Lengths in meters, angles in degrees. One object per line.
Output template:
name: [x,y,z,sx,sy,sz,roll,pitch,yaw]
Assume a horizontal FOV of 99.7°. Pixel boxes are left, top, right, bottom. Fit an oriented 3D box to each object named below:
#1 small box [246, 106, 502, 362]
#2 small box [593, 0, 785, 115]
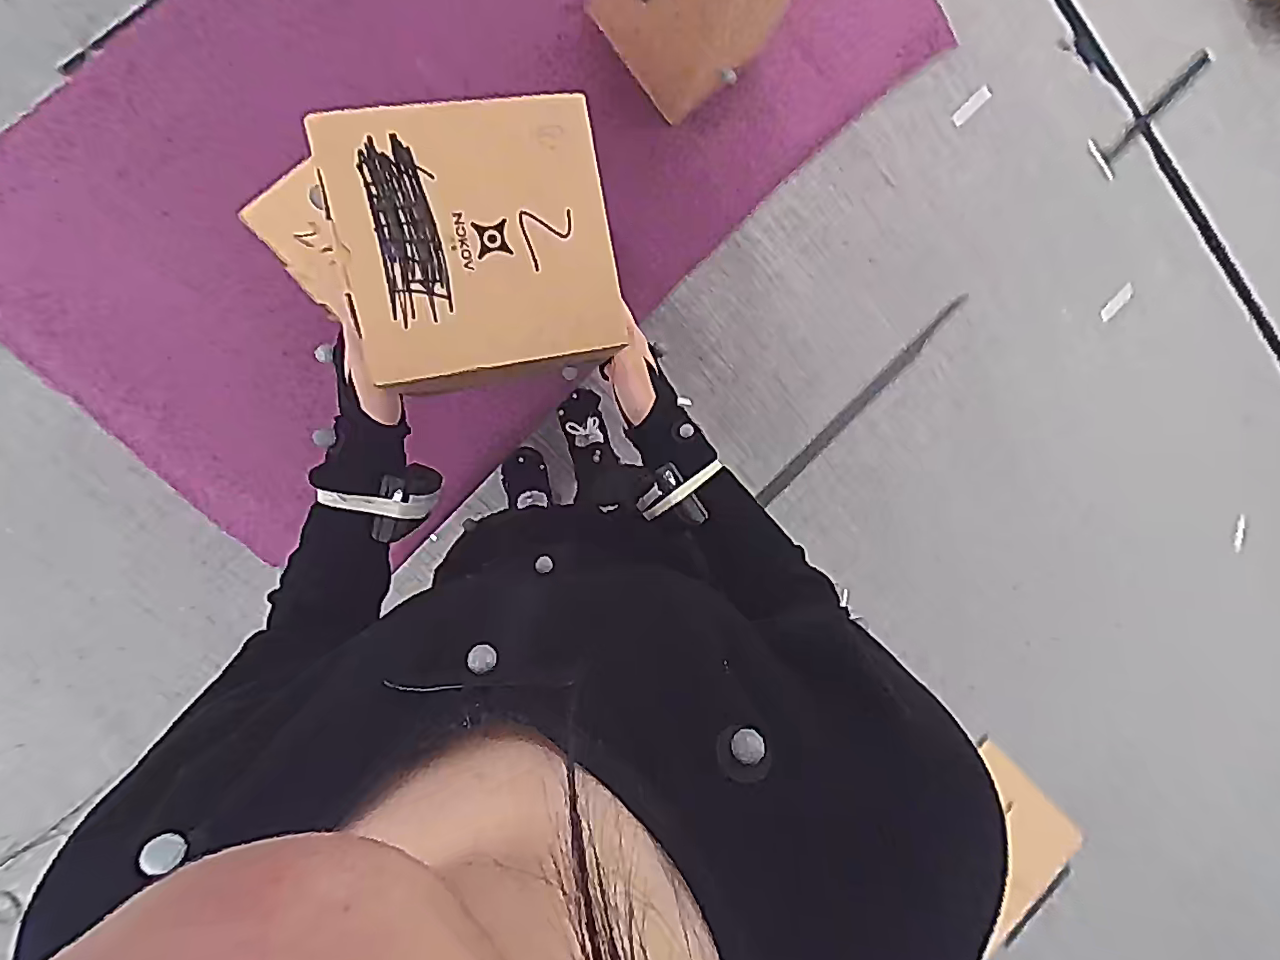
small box: [-0.274,-0.256,0.610,0.179,0.176,0.168,-42,101,-4]
small box: [0.061,-0.594,0.642,0.168,0.176,0.179,-42,102,-4]
